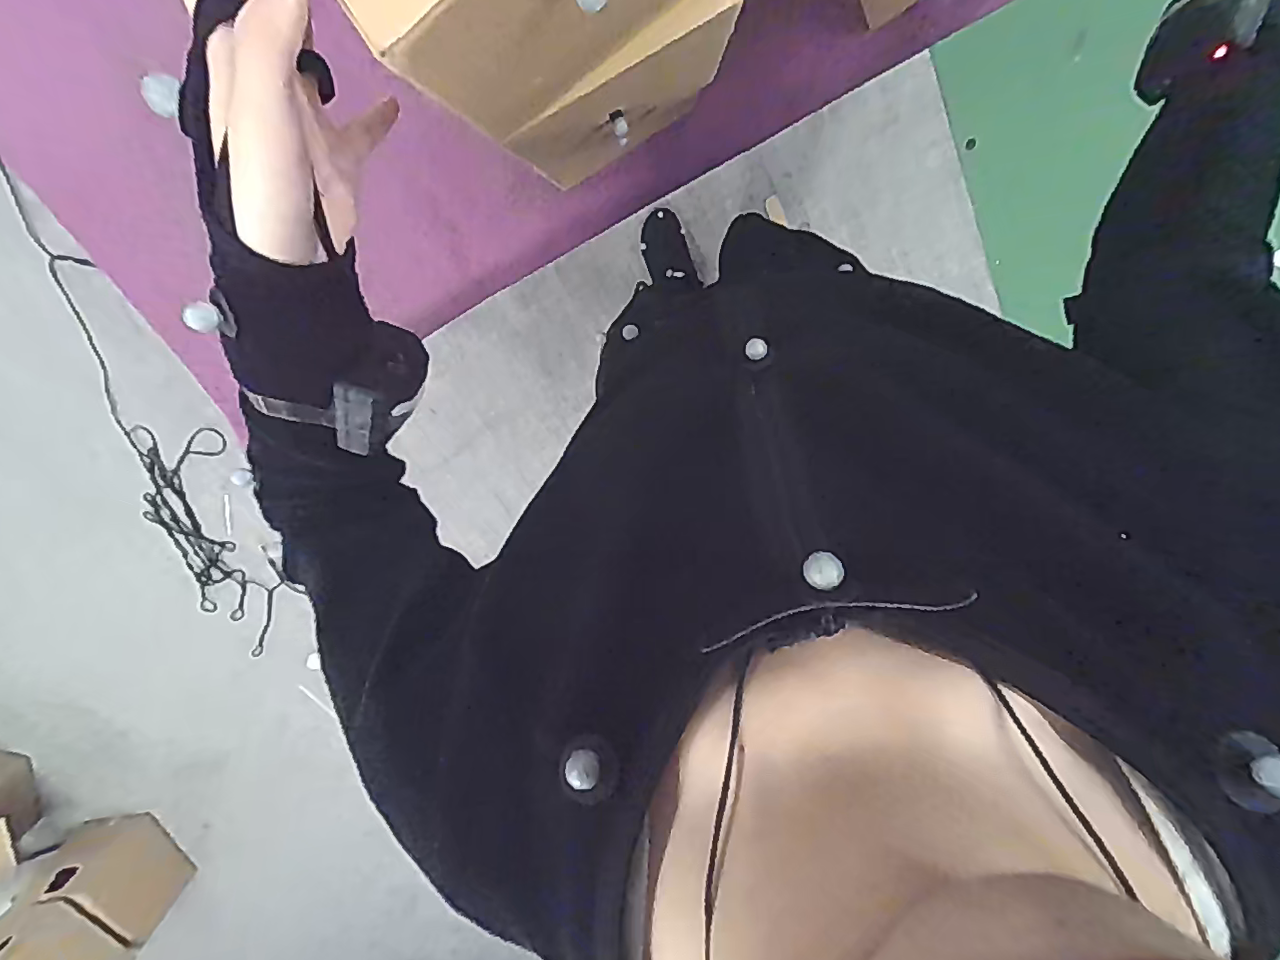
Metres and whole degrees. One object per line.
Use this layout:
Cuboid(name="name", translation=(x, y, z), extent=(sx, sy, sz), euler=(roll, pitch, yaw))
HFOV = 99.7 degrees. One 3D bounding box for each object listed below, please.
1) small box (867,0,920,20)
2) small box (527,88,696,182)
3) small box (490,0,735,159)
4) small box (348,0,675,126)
Cuboid(name="small box", translation=(0.277, -0.543, 0.449), extent=(0.179, 0.176, 0.168), euler=(-28, 111, 13))
Cuboid(name="small box", translation=(-0.051, -0.414, 0.520), extent=(0.179, 0.176, 0.168), euler=(-25, 110, 12))
Cuboid(name="small box", translation=(-0.048, -0.347, 0.371), extent=(0.168, 0.176, 0.179), euler=(-23, 111, 11))
Cuboid(name="small box", translation=(-0.058, -0.286, 0.219), extent=(0.179, 0.176, 0.168), euler=(-29, 110, 14))
